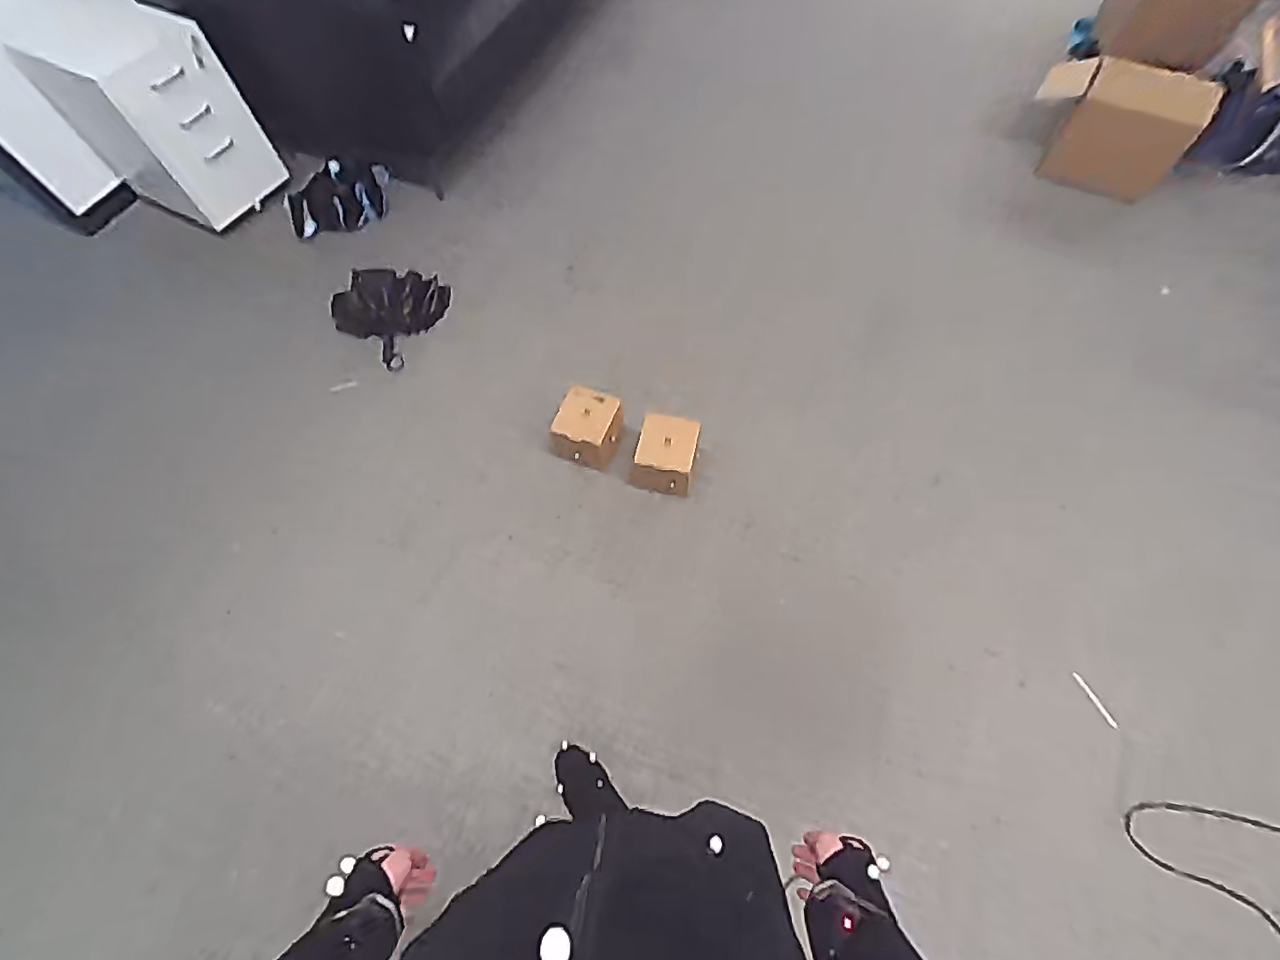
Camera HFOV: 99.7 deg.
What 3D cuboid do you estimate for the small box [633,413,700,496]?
[{"bbox_3d":[0.081,-0.070,1.623,0.168,0.176,0.179,11,62,6],"label":"small box"}]

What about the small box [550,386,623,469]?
[{"bbox_3d":[-0.156,-0.157,1.673,0.168,0.176,0.179,18,65,11],"label":"small box"}]
